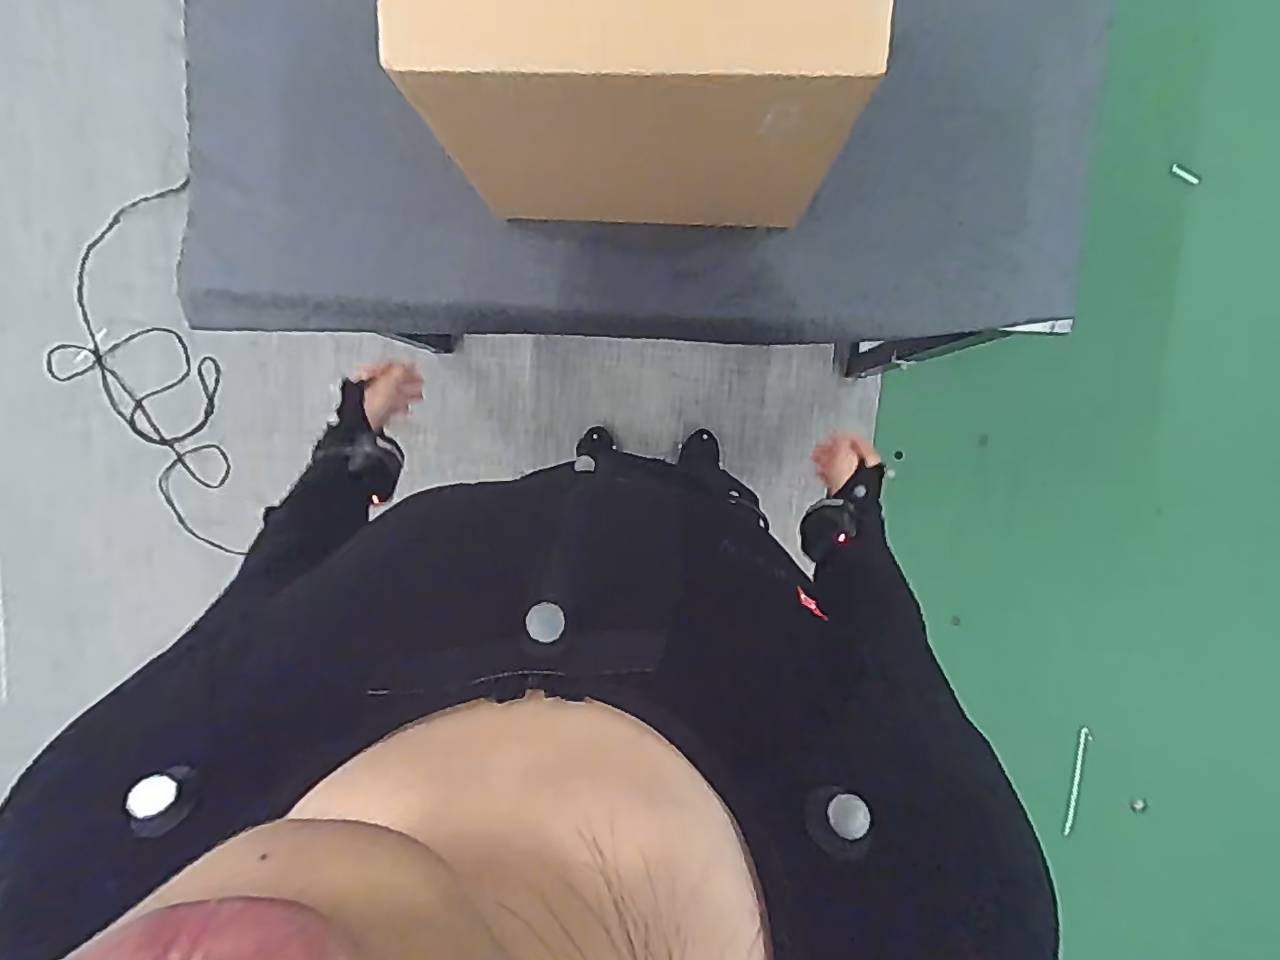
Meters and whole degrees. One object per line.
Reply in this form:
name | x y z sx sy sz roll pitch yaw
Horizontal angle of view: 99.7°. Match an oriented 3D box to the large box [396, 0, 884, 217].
large box | 0.004 -0.498 0.577 0.408 0.320 0.320 2 96 2
